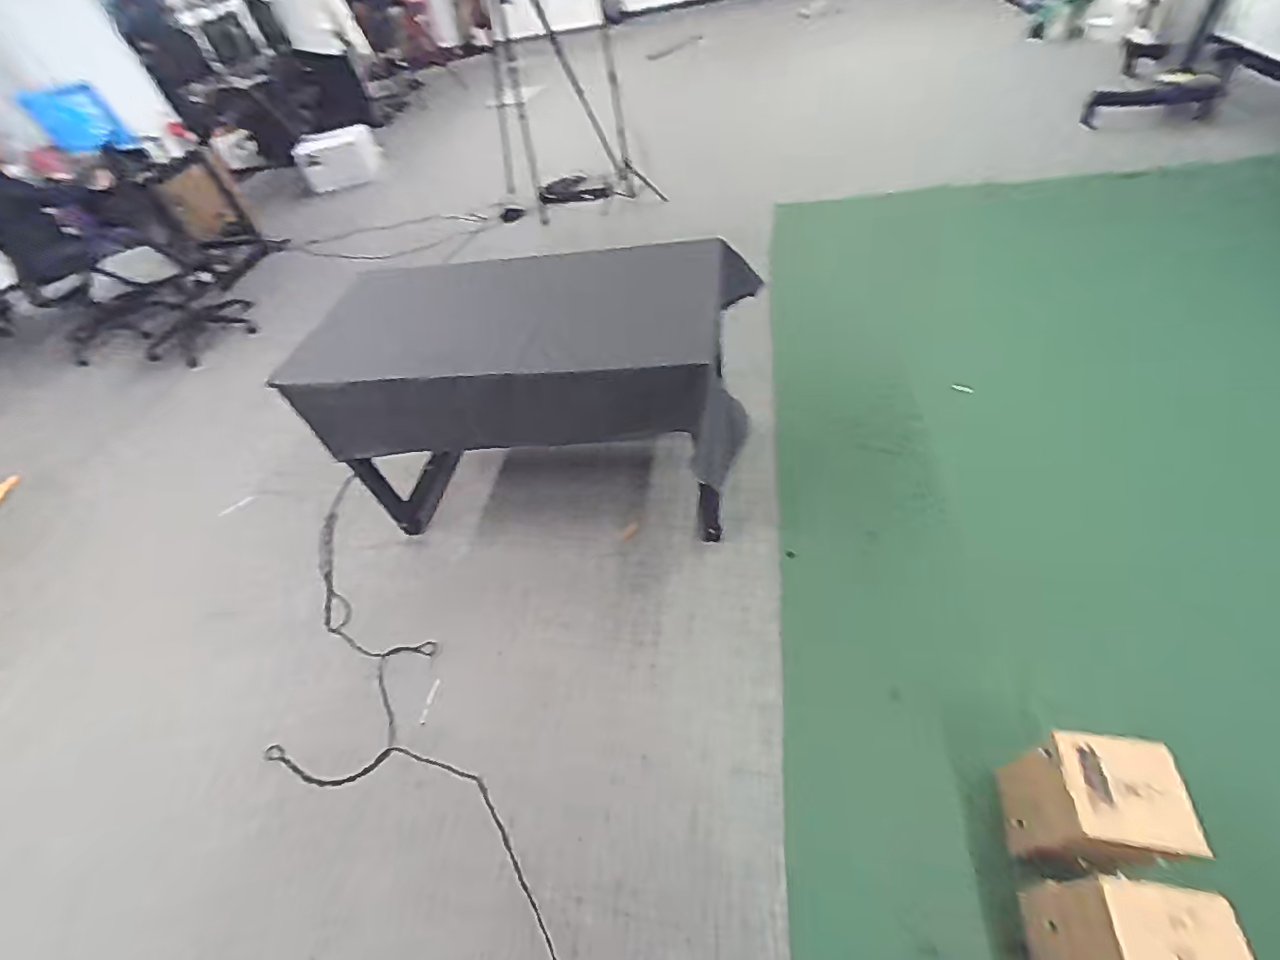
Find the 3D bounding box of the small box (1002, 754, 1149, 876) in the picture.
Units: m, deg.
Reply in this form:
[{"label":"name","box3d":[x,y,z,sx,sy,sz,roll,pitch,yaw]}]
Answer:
[{"label":"small box","box3d":[0.865,0.683,1.101,0.179,0.176,0.168,4,50,16]}]
